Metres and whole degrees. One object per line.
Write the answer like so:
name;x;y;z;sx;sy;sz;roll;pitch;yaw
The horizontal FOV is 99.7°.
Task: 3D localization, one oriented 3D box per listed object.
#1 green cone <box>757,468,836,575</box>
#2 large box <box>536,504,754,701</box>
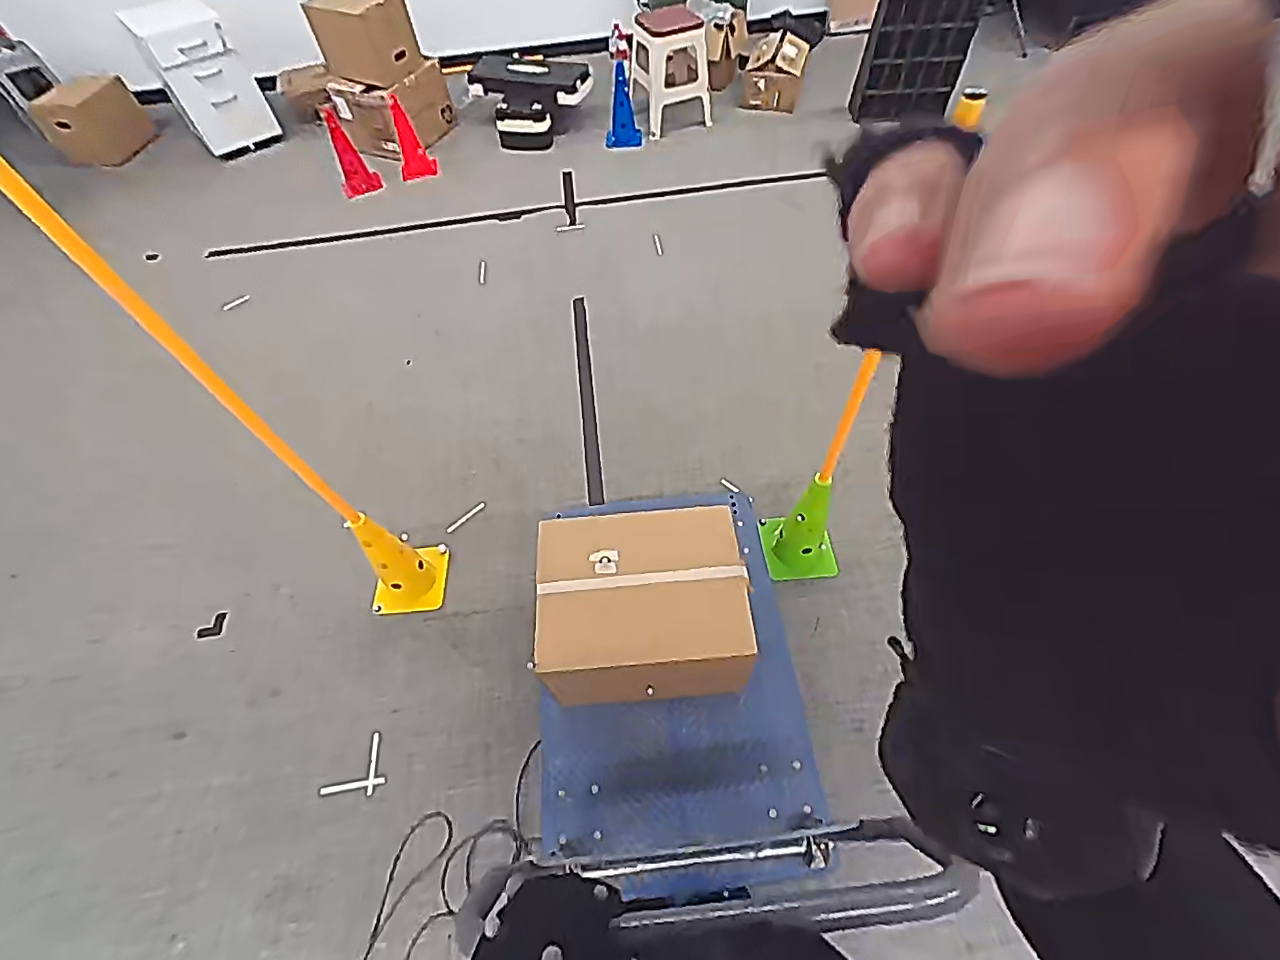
green cone;0.452;0.089;1.450;0.202;0.368;0.200;-4;56;-1
large box;0.008;0.278;1.178;0.408;0.320;0.320;-5;56;1
